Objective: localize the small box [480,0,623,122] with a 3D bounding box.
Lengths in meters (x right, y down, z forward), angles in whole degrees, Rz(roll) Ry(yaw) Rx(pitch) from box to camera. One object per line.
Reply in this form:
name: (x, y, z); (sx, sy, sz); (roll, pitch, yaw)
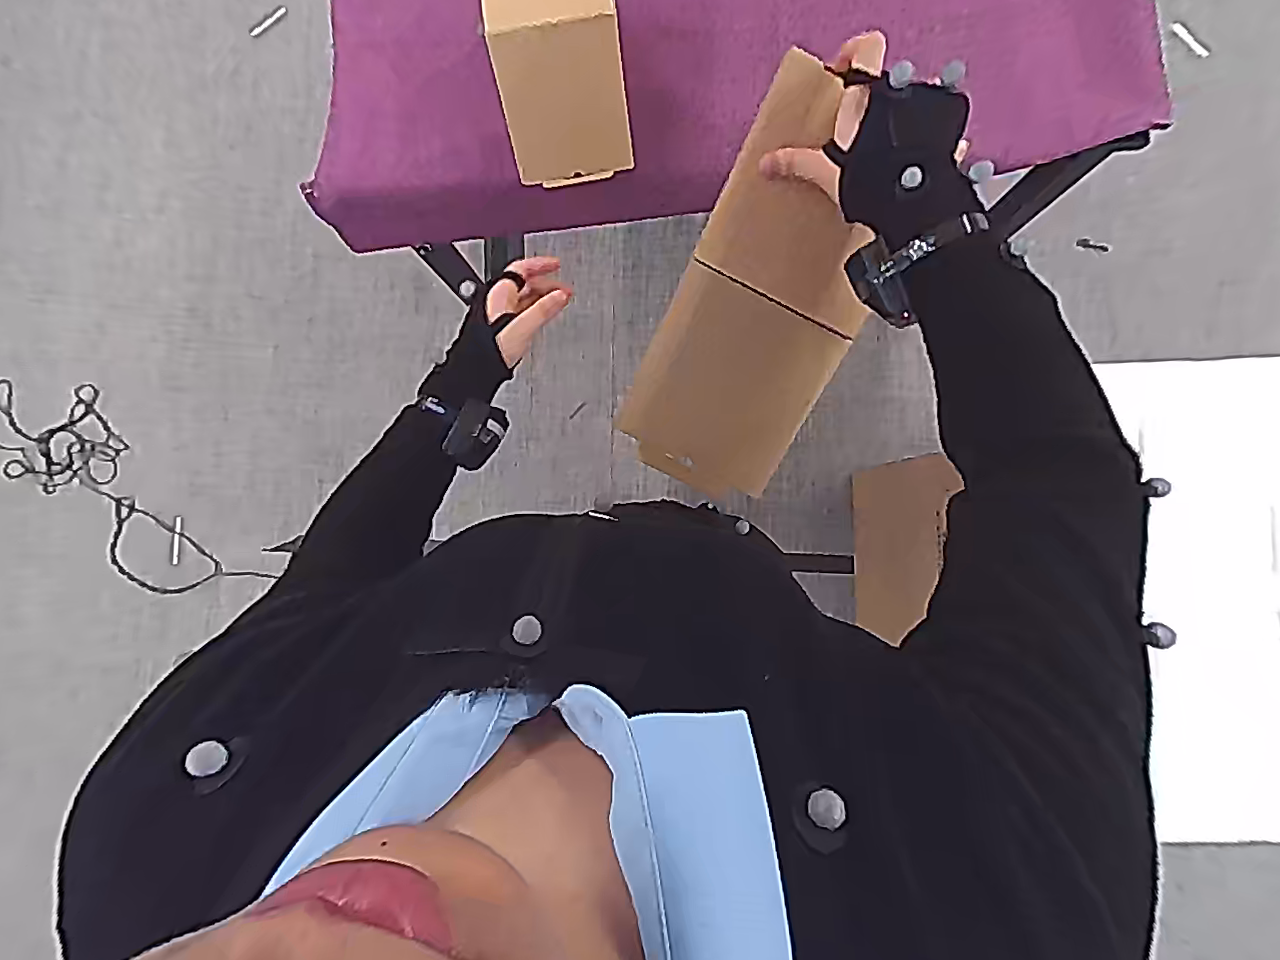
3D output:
small box: (-0.118, -0.637, 0.755); (0.168, 0.176, 0.179); (-7, 84, 2)
